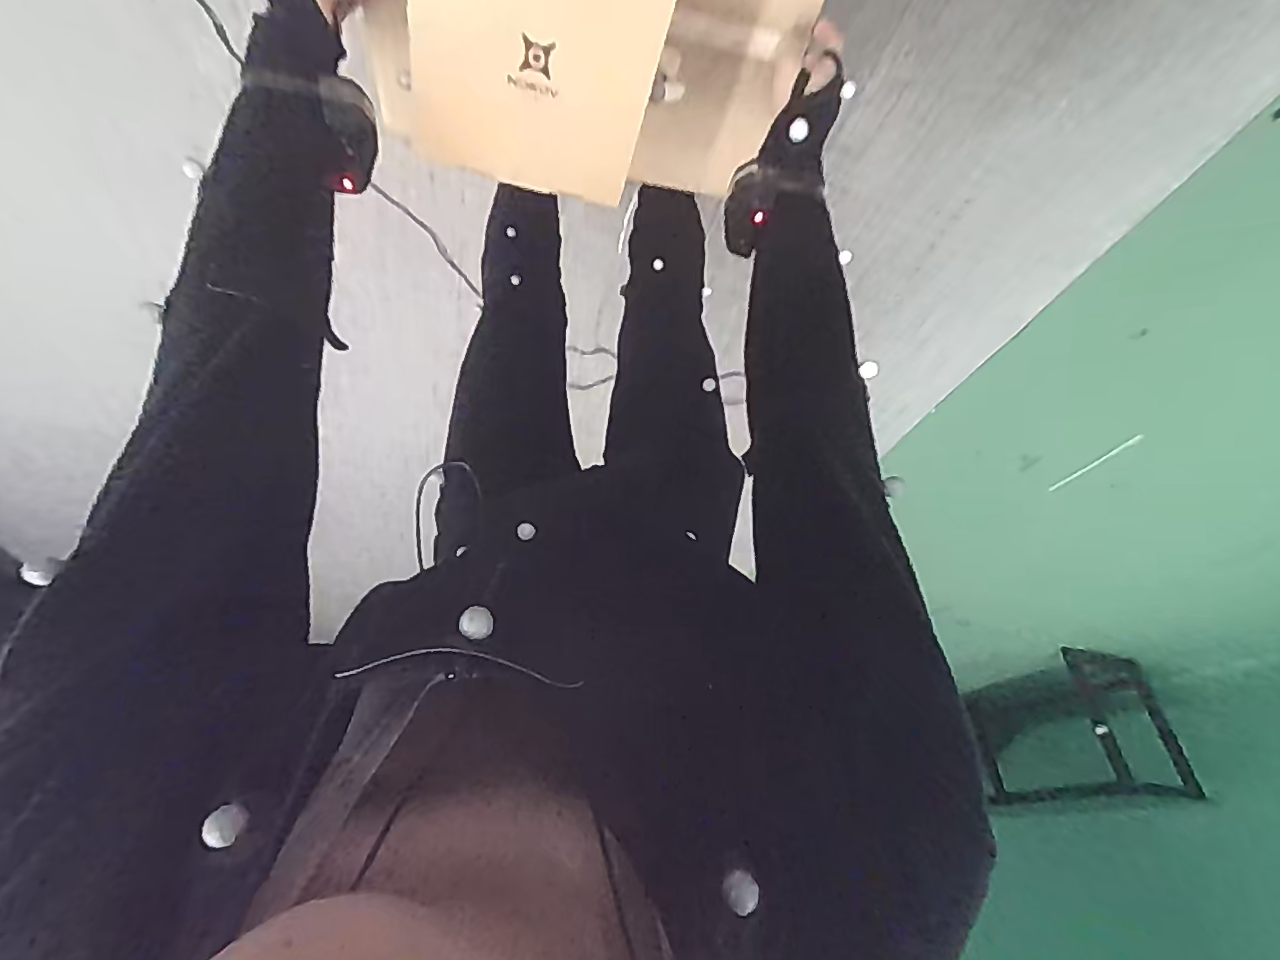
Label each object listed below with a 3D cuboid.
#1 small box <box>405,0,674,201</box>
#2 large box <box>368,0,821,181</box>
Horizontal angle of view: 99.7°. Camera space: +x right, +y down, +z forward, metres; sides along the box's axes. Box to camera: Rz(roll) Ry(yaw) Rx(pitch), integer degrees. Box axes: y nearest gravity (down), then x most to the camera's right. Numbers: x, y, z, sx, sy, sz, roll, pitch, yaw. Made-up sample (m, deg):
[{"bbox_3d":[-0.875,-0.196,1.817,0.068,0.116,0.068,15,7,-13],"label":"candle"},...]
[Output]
[{"bbox_3d":[-0.076,-0.356,0.407,0.168,0.176,0.179,6,149,-15],"label":"small box"},{"bbox_3d":[-0.044,-0.563,0.540,0.408,0.320,0.320,3,151,-12],"label":"large box"}]
